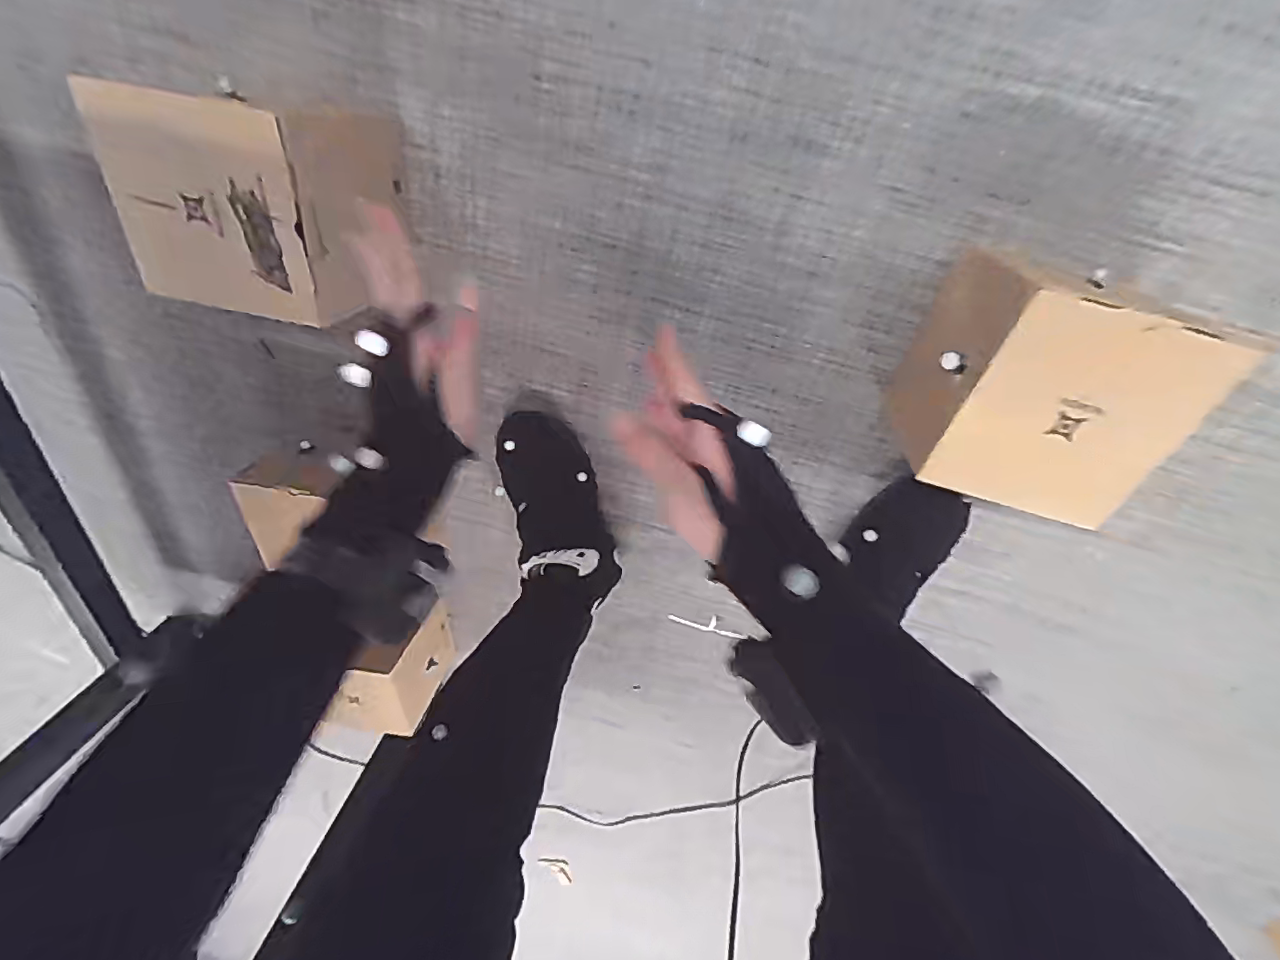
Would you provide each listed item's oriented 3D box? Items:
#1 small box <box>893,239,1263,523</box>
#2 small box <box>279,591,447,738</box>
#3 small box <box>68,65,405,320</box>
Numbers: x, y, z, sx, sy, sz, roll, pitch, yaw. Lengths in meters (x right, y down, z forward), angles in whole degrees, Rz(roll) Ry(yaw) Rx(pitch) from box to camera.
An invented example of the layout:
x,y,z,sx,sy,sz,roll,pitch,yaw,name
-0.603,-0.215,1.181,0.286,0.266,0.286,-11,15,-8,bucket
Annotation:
x,y,z,sx,sy,sz,roll,pitch,yaw,name
0.353,-0.096,0.490,0.168,0.176,0.179,16,124,0,small box
-0.437,0.291,0.893,0.179,0.176,0.168,7,124,6,small box
-0.341,-0.269,0.508,0.179,0.176,0.168,13,124,4,small box
